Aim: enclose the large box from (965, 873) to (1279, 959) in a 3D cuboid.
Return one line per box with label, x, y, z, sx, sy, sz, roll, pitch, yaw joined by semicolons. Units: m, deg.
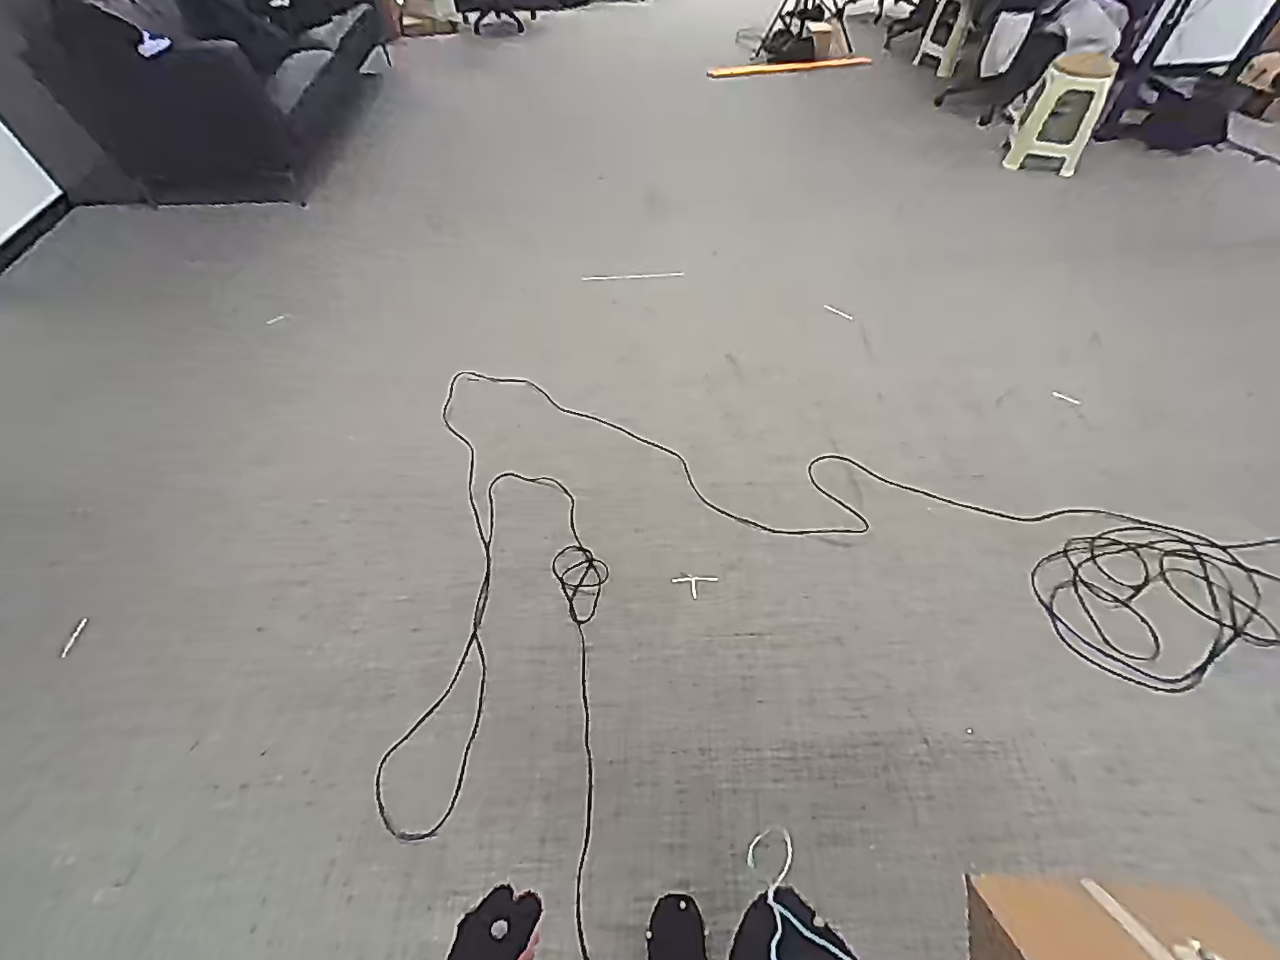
large box;0.604;0.716;0.570;0.320;0.408;0.320;1;89;6
